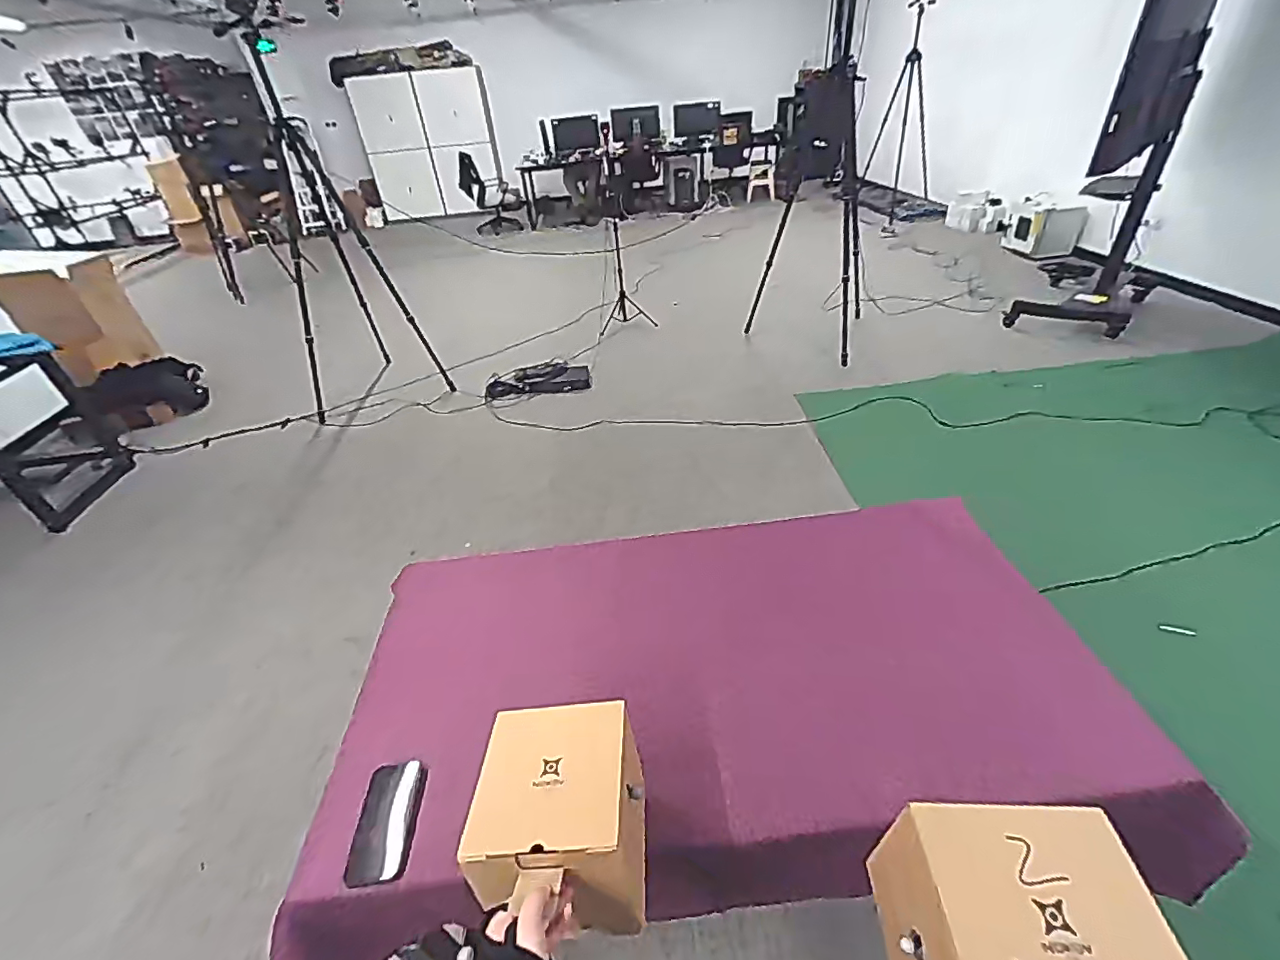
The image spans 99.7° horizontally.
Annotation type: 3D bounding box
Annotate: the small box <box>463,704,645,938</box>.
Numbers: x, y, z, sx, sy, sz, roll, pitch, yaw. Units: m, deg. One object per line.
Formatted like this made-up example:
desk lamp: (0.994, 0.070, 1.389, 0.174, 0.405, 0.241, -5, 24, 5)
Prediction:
small box: (-0.086, 0.398, 0.642, 0.168, 0.176, 0.179, -6, 28, 4)
